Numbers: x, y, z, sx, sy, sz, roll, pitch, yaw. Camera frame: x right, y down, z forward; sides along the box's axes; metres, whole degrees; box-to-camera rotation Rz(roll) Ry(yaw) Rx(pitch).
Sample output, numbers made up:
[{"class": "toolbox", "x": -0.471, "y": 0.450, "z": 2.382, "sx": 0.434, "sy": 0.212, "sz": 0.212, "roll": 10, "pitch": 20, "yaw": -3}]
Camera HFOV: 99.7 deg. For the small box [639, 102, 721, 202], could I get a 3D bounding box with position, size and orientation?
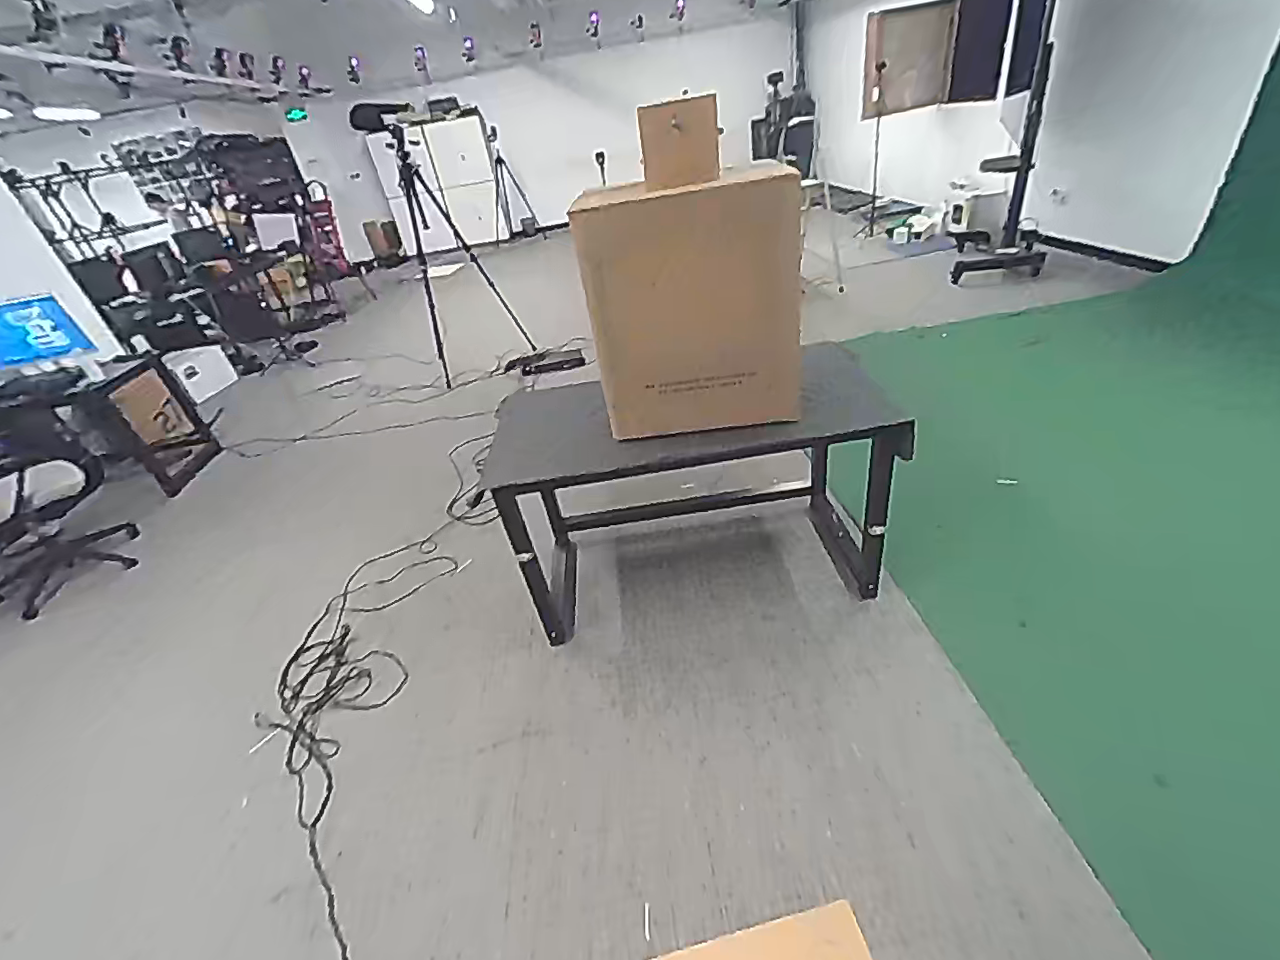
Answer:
[{"class": "small box", "x": 0.098, "y": -0.771, "z": 1.273, "sx": 0.179, "sy": 0.176, "sz": 0.168, "roll": -6, "pitch": 36, "yaw": 8}]
